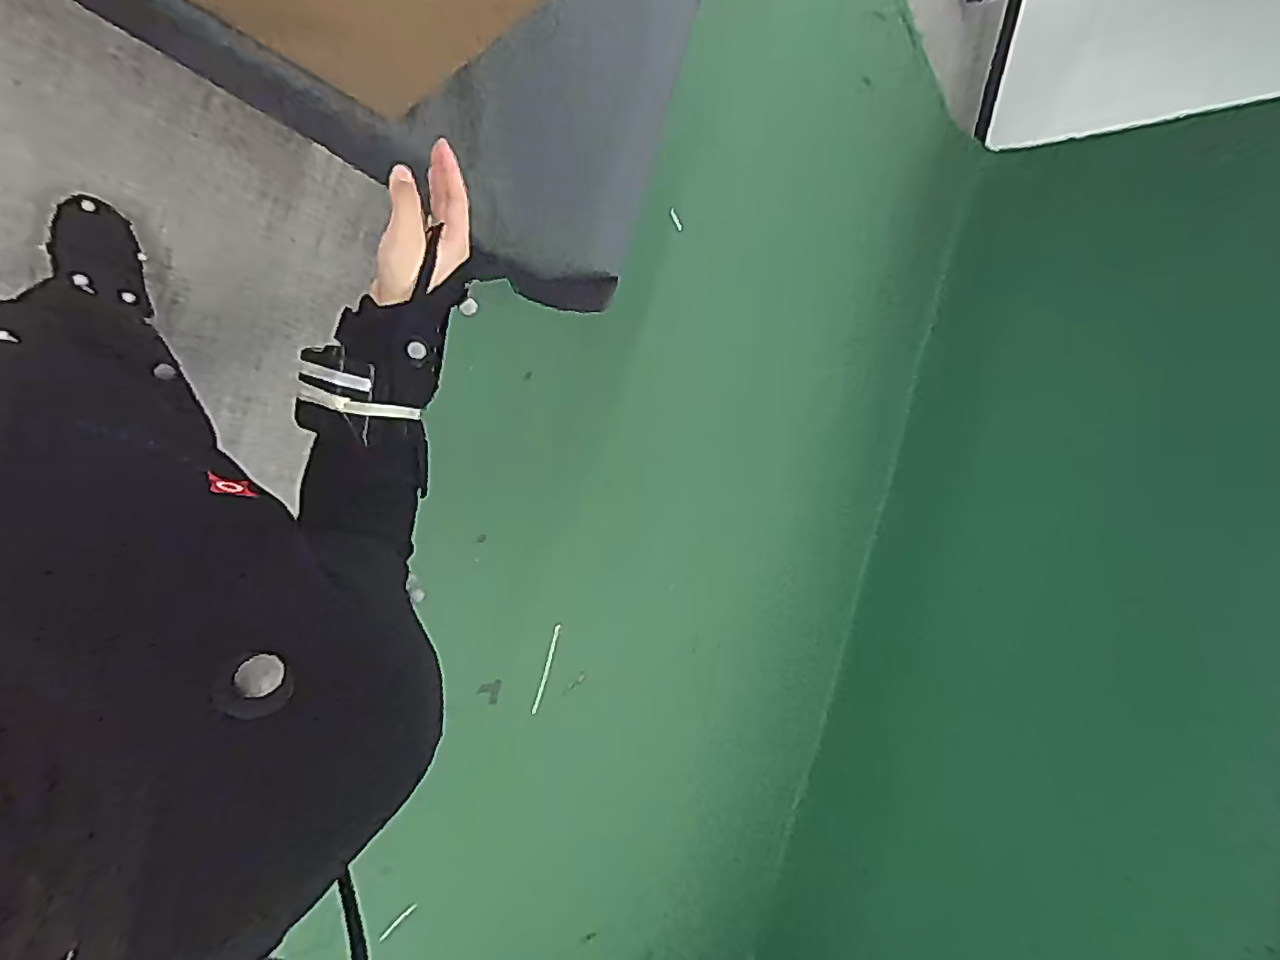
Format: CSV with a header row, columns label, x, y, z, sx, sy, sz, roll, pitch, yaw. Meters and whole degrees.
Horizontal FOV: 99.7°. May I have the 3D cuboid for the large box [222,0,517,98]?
label,x,y,z,sx,sy,sz,roll,pitch,yaw
large box,-0.267,-0.548,0.329,0.408,0.320,0.320,10,93,-48
